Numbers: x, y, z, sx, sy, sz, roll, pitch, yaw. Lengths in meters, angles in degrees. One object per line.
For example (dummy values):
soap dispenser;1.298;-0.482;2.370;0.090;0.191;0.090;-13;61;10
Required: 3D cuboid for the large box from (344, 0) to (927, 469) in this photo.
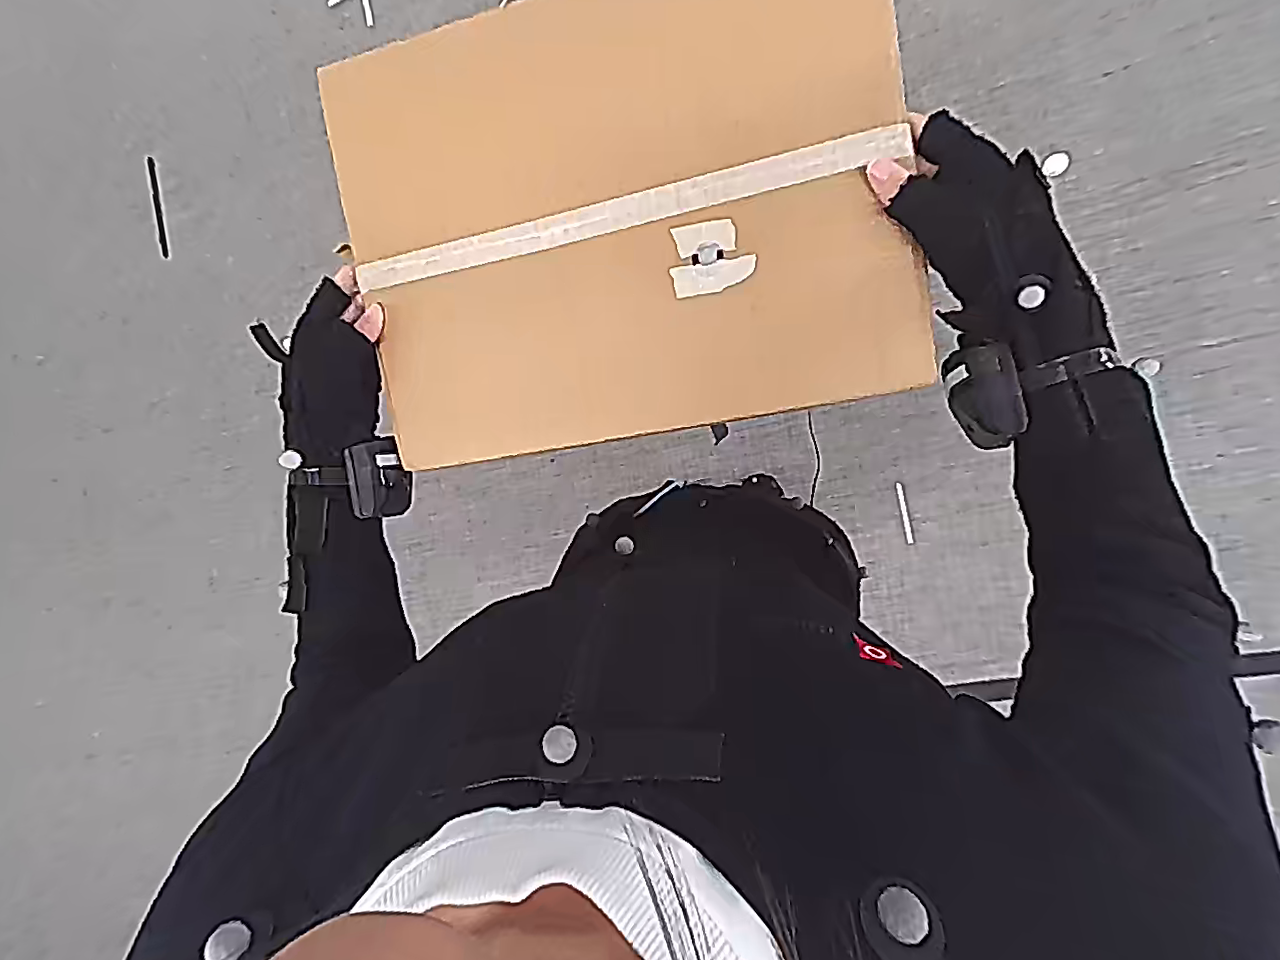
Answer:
large box;0.007;-0.208;0.547;0.408;0.320;0.320;-9;96;11
